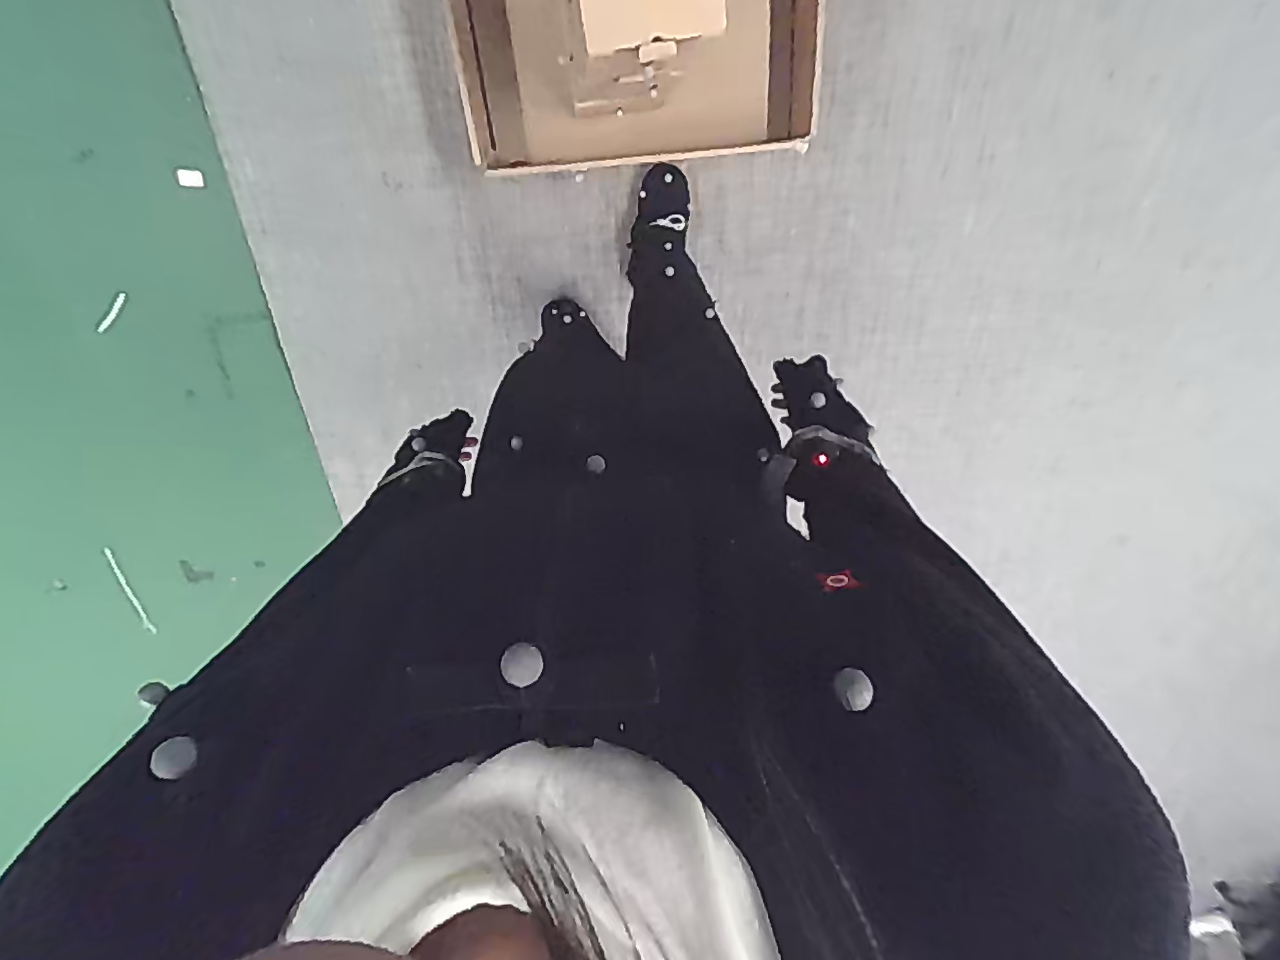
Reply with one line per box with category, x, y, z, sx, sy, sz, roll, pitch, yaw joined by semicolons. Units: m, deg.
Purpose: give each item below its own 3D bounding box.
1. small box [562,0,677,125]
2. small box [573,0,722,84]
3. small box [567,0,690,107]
small box;-0.036;-0.741;0.955;0.179;0.176;0.168;-7;117;0
small box;0.000;-0.606;0.662;0.168;0.176;0.179;-9;118;-2
small box;-0.021;-0.676;0.809;0.168;0.176;0.179;-7;116;-3
